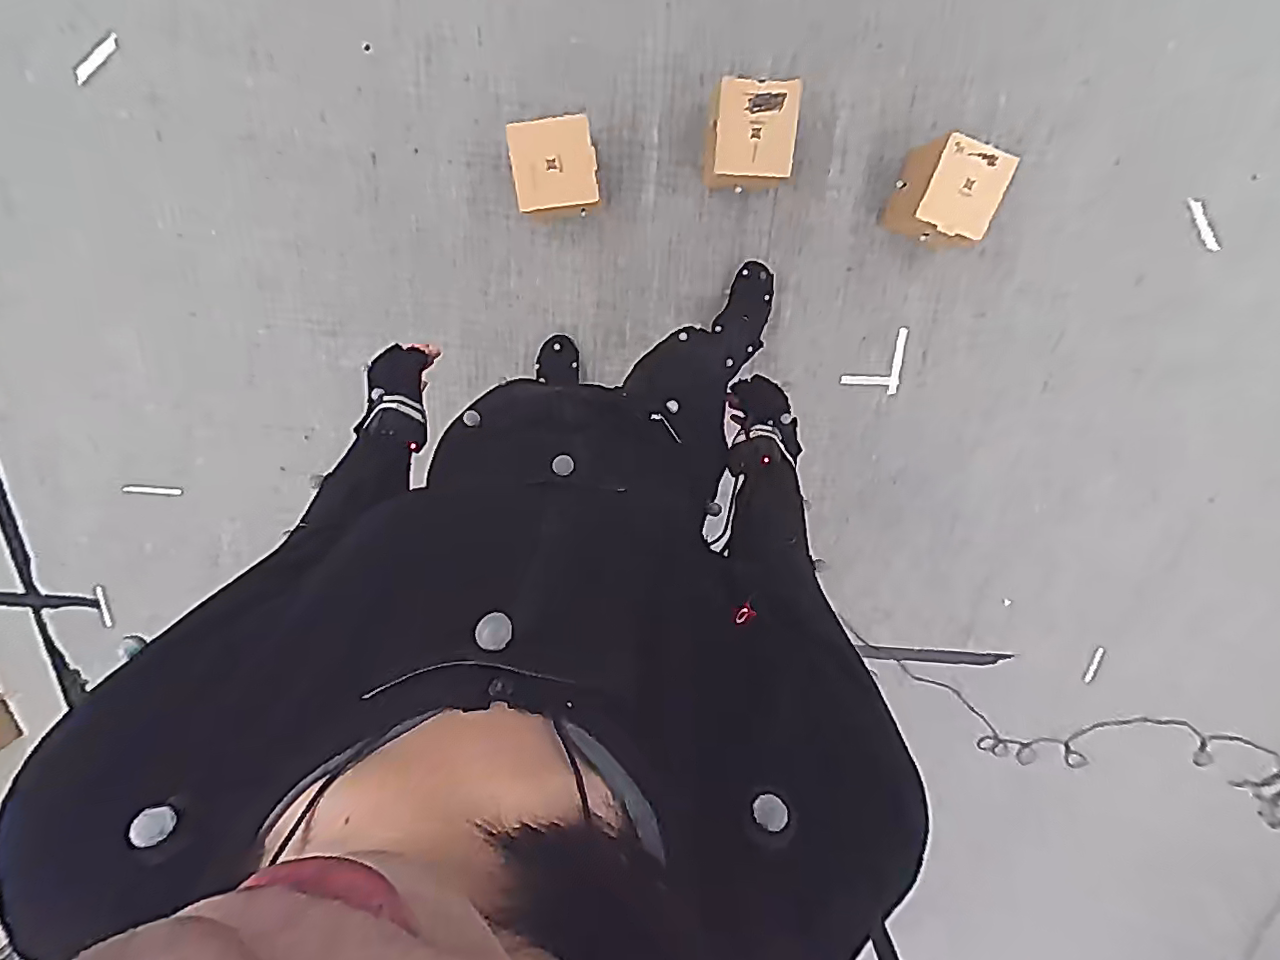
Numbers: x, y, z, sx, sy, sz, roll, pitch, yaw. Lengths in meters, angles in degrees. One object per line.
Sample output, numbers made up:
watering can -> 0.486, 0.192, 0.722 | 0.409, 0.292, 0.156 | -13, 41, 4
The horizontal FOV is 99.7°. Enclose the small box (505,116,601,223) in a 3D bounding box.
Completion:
small box -> -0.182, -0.678, 1.197 | 0.179, 0.176, 0.168 | -7, 108, 2

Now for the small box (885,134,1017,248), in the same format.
small box -> 0.692, -0.645, 1.233 | 0.168, 0.176, 0.179 | 17, 109, -8

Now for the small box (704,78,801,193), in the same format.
small box -> 0.237, -0.744, 1.183 | 0.168, 0.176, 0.179 | 2, 110, -2
